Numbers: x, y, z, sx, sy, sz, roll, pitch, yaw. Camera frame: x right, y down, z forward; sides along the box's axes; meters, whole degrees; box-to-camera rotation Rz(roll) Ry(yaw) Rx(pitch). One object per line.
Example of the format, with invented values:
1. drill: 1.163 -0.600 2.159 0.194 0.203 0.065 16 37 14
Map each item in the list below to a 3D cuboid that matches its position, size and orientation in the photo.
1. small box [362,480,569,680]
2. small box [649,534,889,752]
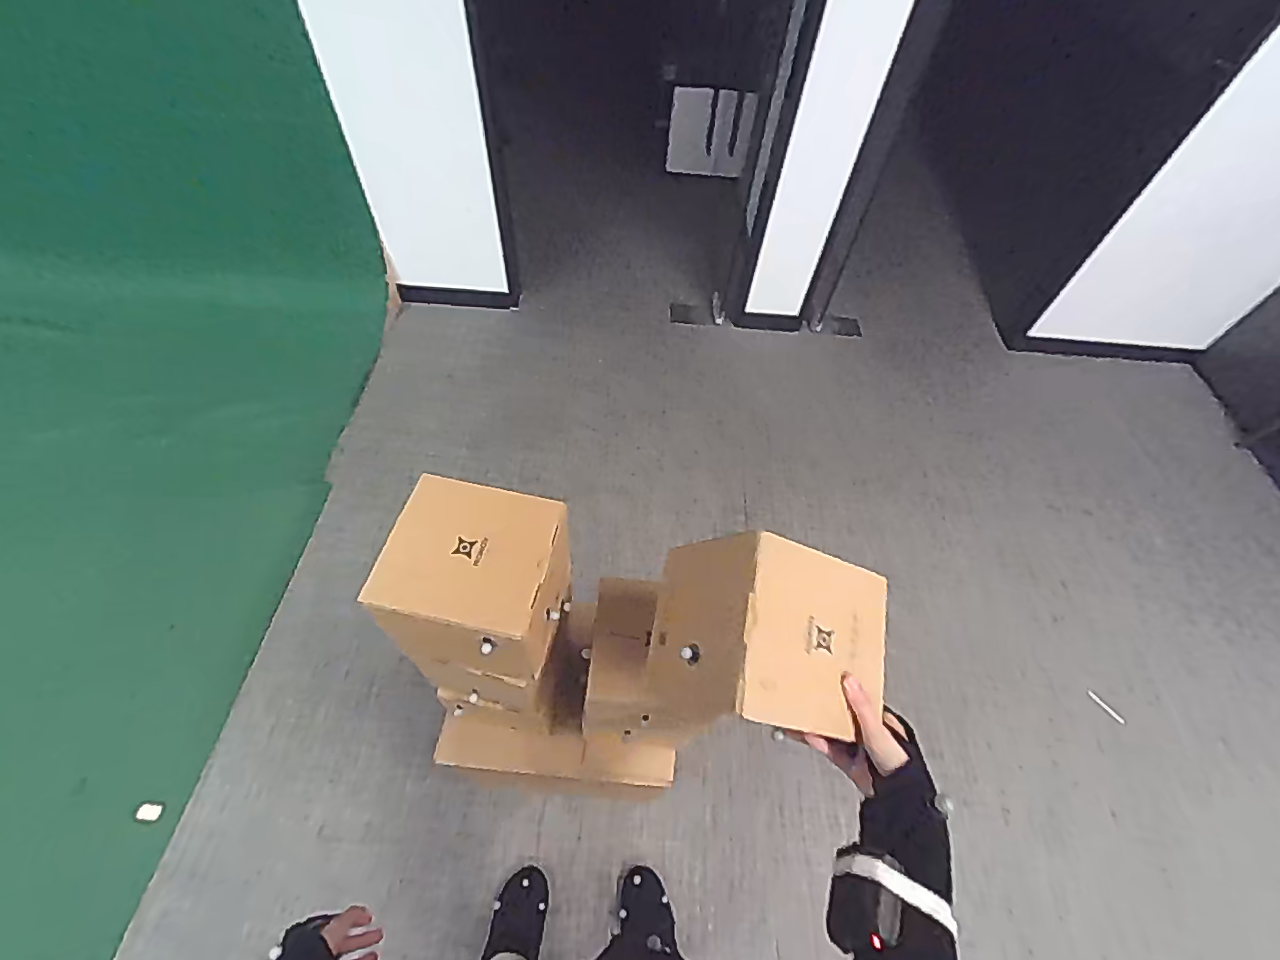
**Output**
1. small box: -0.192 0.127 0.655 0.179 0.176 0.168 12 55 2
2. small box: 0.131 0.170 0.571 0.179 0.176 0.168 23 68 -24
